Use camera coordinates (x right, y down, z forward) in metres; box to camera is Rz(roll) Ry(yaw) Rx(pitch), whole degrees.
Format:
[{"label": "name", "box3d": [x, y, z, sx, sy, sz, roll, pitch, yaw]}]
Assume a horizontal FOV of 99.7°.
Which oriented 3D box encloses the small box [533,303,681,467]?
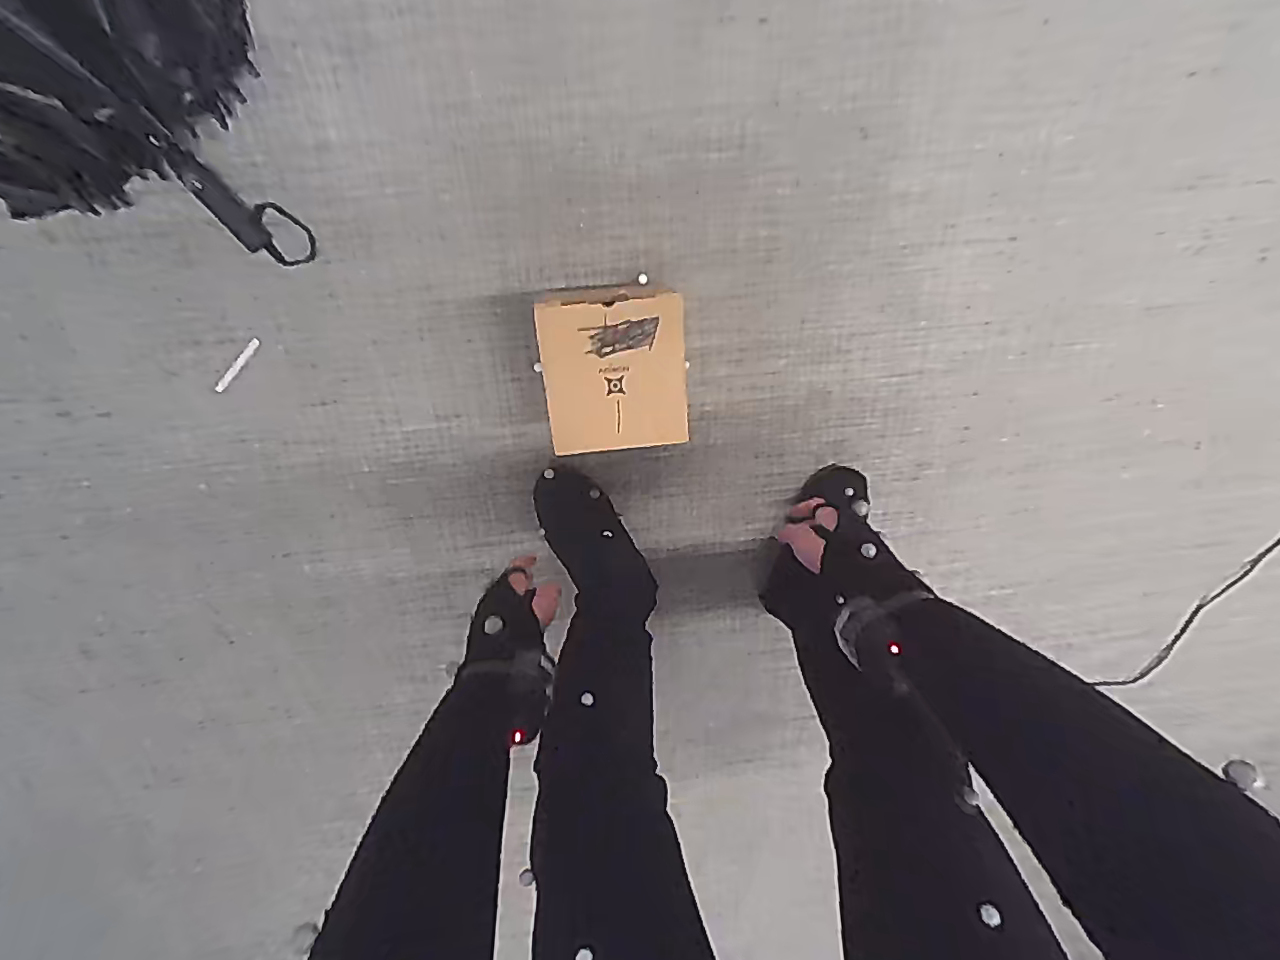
[{"label": "small box", "box3d": [-0.041, -0.134, 0.711, 0.168, 0.176, 0.179, -6, 115, -1]}]
